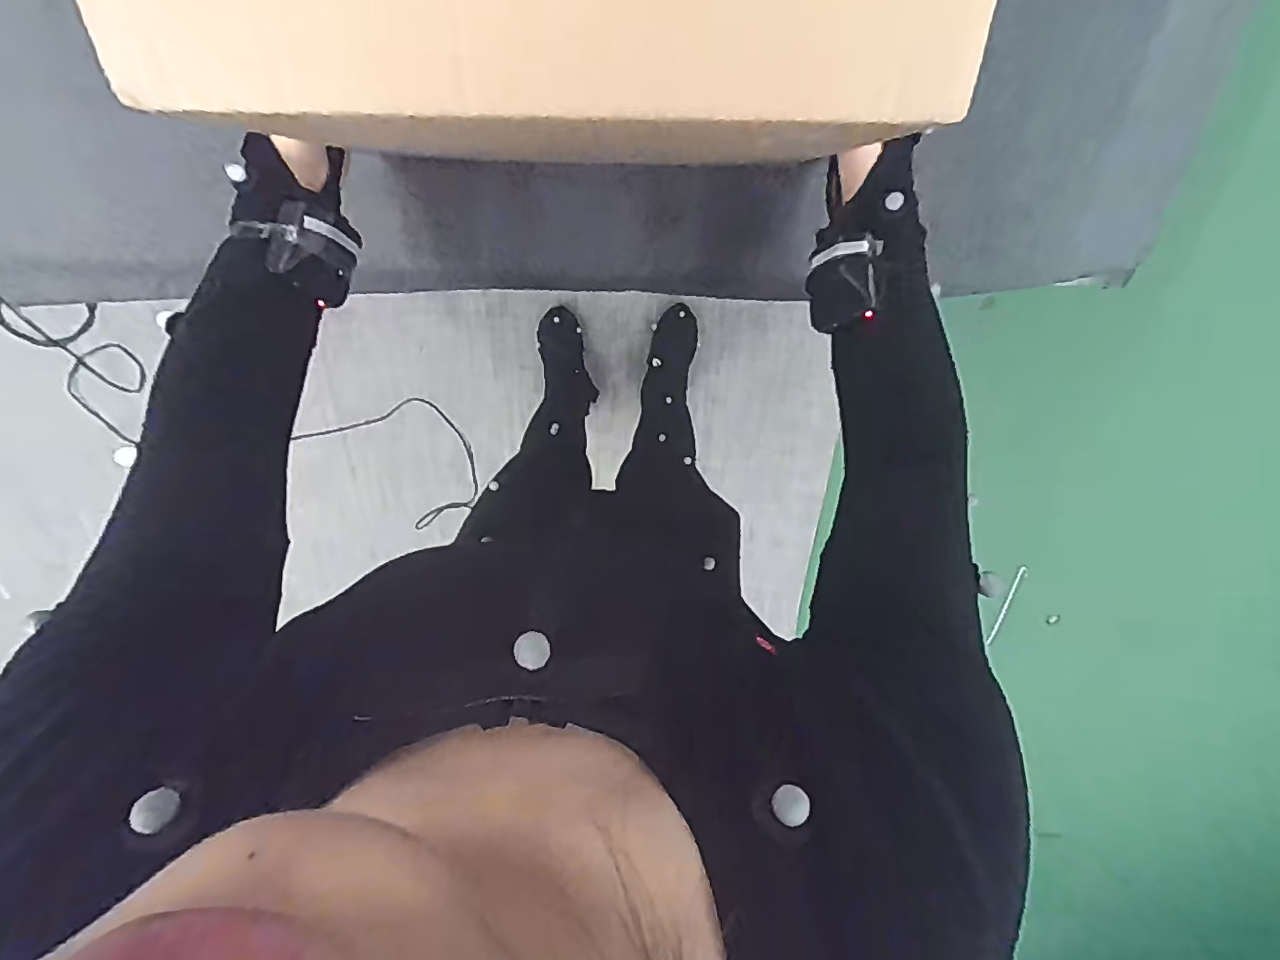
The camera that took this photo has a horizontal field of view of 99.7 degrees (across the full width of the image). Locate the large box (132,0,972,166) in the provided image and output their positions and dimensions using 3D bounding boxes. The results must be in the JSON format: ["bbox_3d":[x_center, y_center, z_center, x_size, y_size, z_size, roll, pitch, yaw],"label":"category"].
[{"bbox_3d":[-0.043,-0.388,0.341,0.408,0.320,0.320,0,118,-1],"label":"large box"}]
